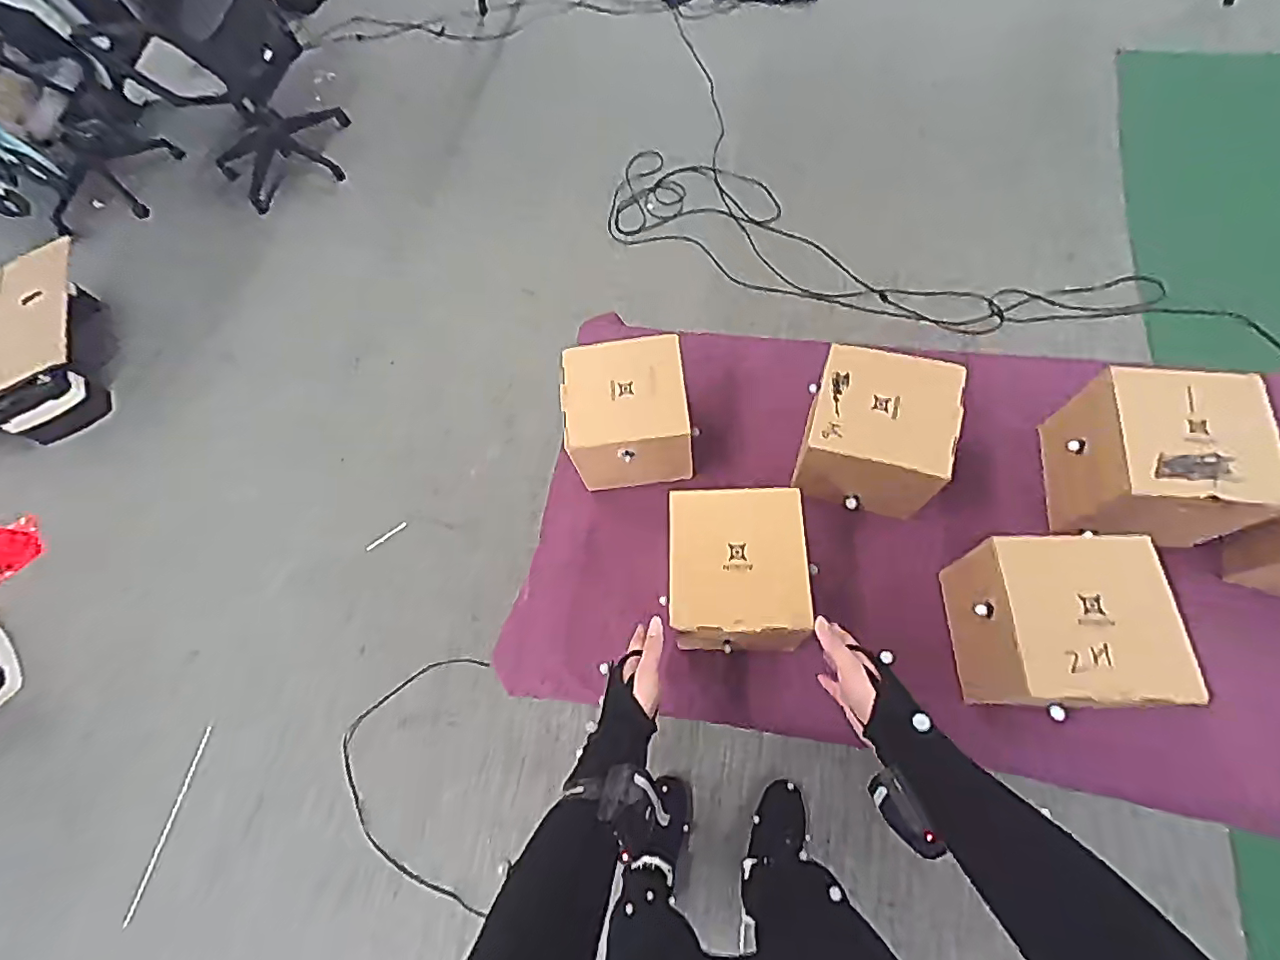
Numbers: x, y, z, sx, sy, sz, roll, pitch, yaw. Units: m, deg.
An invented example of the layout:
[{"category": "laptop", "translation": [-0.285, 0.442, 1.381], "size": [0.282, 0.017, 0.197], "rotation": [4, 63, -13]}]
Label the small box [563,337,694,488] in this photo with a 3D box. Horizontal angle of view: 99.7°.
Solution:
[{"category": "small box", "translation": [-0.013, -0.095, 0.836], "size": [0.179, 0.176, 0.168], "rotation": [-6, 68, 5]}]

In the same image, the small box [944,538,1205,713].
[{"category": "small box", "translation": [0.490, 0.179, 0.648], "size": [0.168, 0.176, 0.179], "rotation": [-1, 66, 8]}]

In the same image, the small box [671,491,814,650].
[{"category": "small box", "translation": [0.127, 0.126, 0.724], "size": [0.168, 0.176, 0.179], "rotation": [-2, 67, 7]}]
